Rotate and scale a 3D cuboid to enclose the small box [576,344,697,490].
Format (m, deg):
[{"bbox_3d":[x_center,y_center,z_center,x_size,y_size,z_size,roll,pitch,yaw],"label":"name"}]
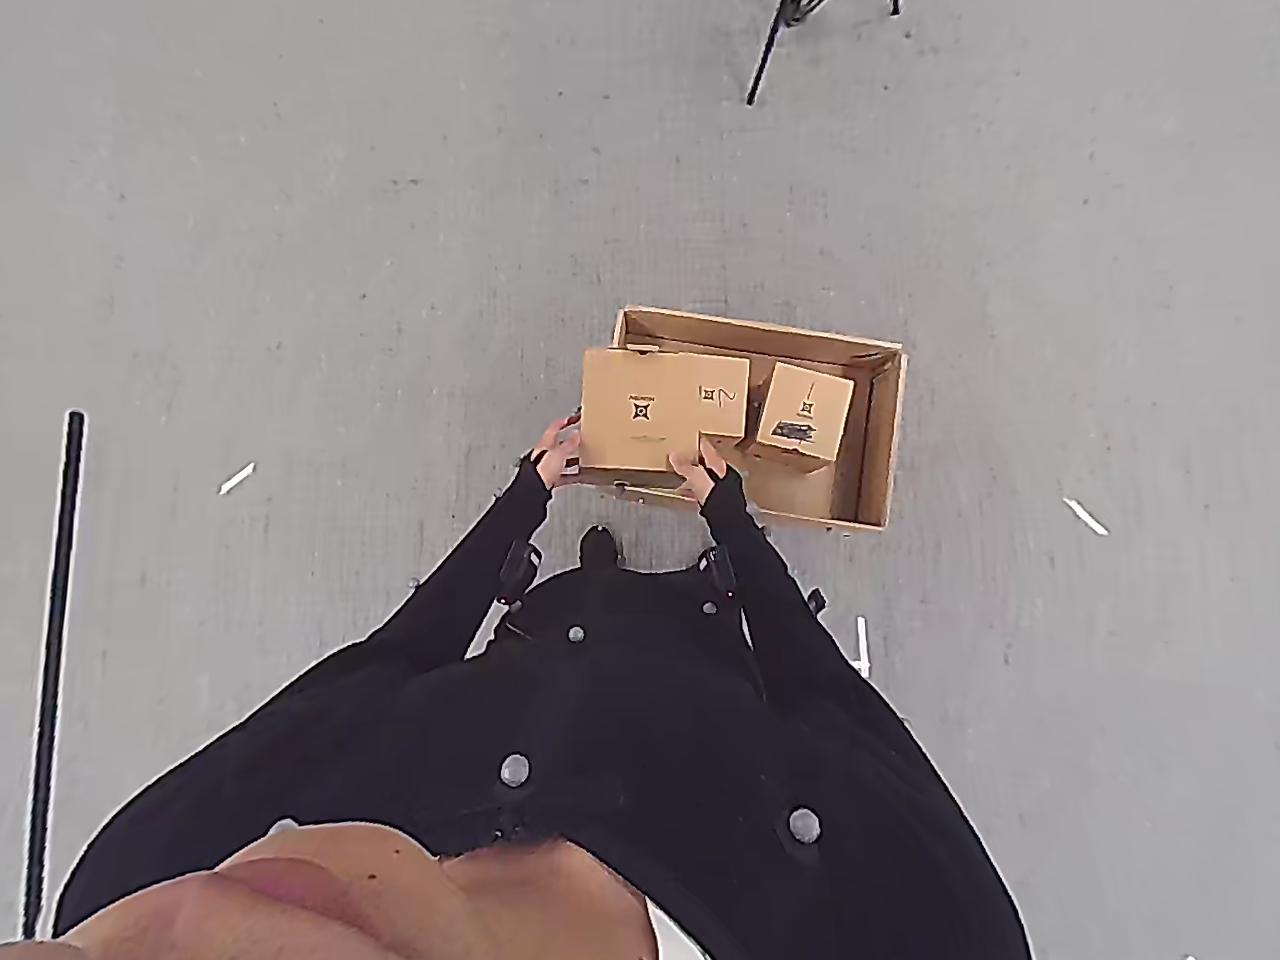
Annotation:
[{"bbox_3d":[-0.011,-0.087,0.824,0.168,0.176,0.179,2,80,-6],"label":"small box"}]
